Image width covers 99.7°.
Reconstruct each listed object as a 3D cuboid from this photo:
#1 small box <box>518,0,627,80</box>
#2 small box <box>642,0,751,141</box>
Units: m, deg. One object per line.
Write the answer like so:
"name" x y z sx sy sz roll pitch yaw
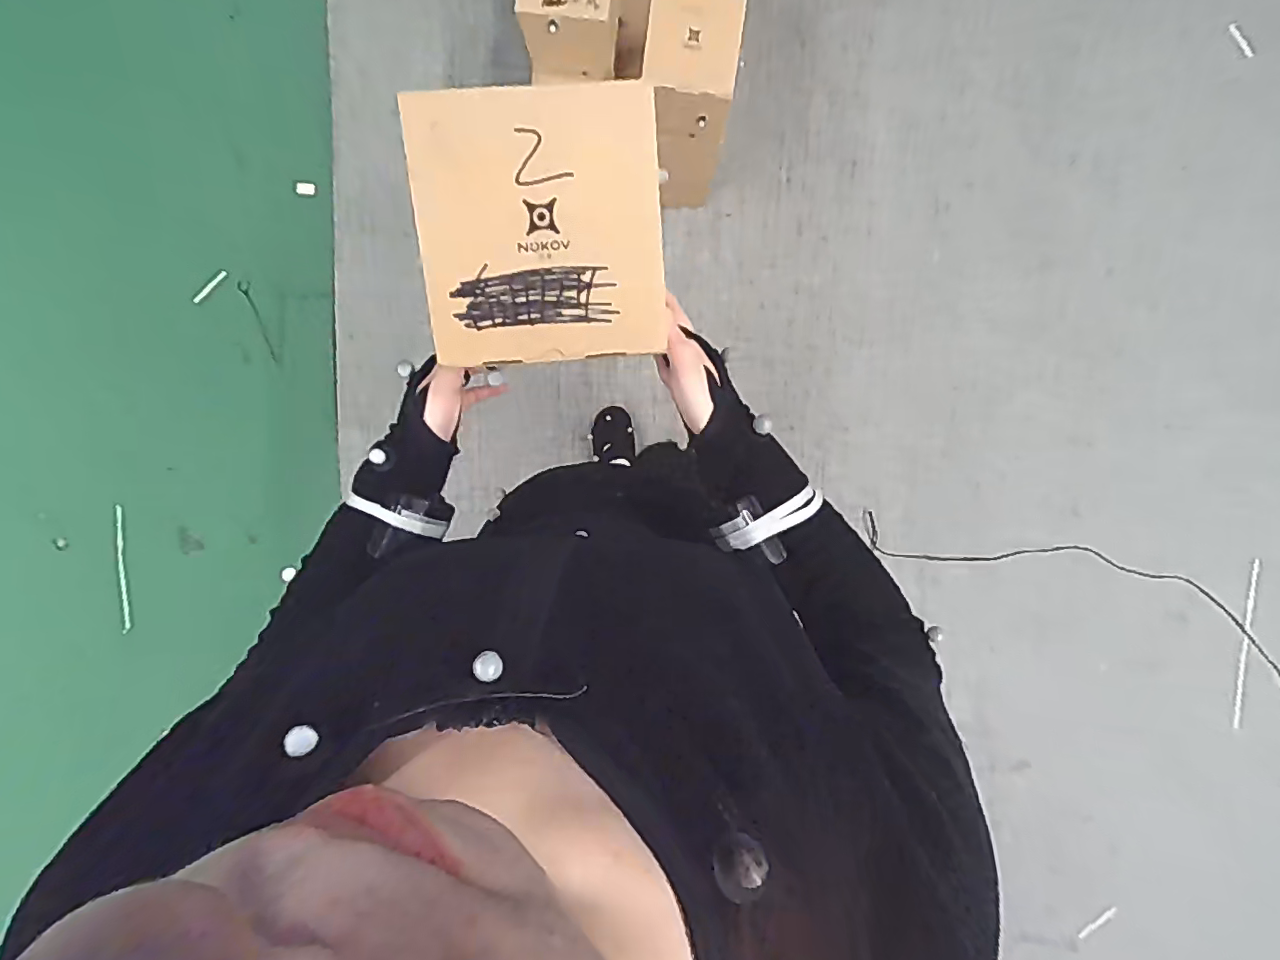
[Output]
"small box" -0.117 -0.893 0.999 0.168 0.176 0.179 8 94 2
"small box" 0.098 -0.768 1.006 0.168 0.176 0.179 9 95 -1
